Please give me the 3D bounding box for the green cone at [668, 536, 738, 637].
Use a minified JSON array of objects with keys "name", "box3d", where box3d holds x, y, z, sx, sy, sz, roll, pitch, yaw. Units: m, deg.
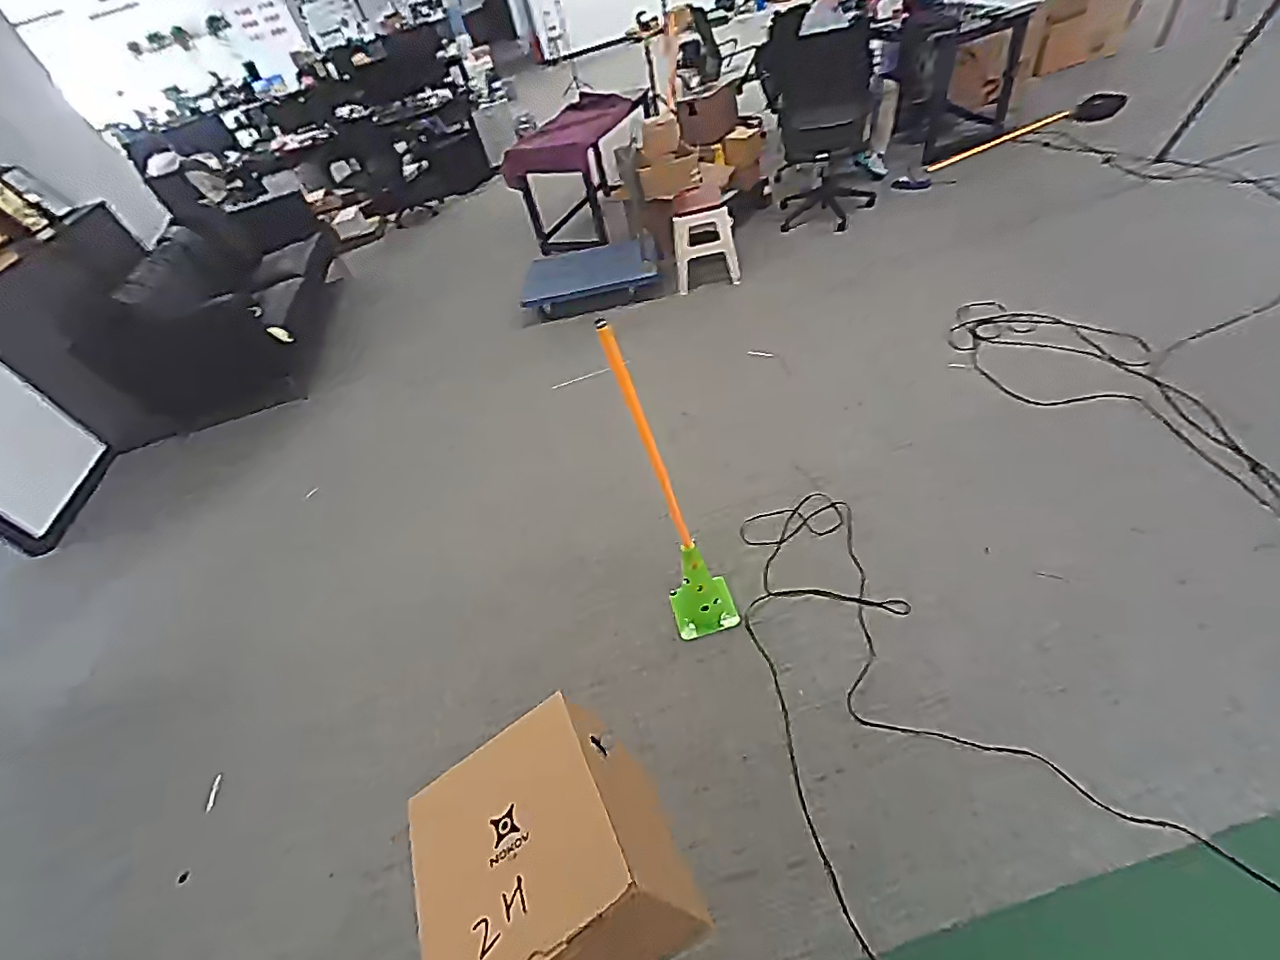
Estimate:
[{"name":"green cone","box3d":[0.174,0.304,1.693,0.202,0.368,0.200,-17,45,-2]}]
